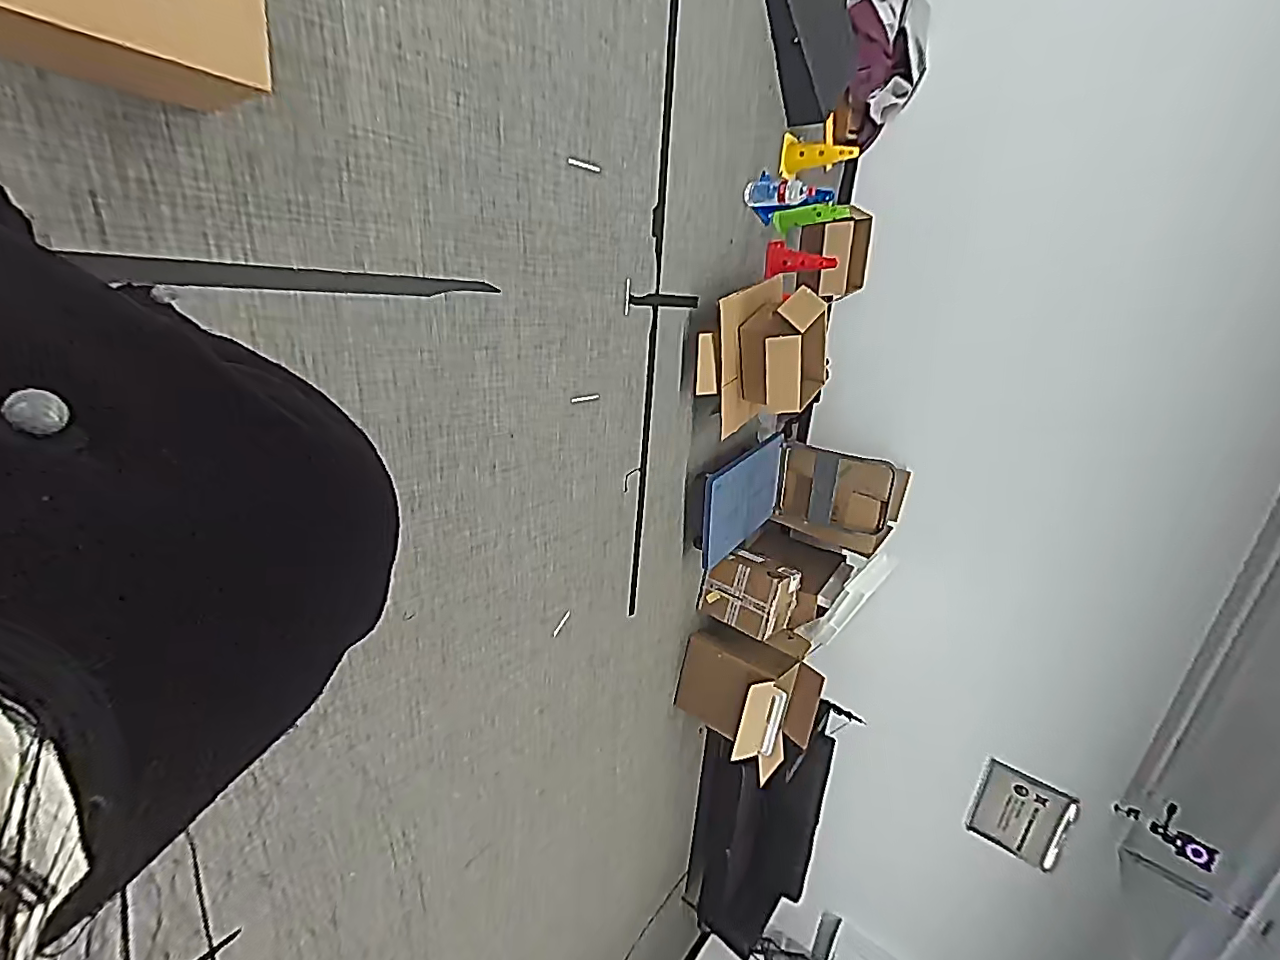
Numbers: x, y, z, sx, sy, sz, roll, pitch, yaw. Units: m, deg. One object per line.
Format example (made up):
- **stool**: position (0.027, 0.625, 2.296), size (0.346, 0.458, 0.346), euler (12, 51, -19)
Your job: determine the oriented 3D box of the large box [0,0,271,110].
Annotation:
- **large box**: position (-0.840, -0.793, 0.785), size (0.408, 0.320, 0.320), euler (-18, 120, -51)
